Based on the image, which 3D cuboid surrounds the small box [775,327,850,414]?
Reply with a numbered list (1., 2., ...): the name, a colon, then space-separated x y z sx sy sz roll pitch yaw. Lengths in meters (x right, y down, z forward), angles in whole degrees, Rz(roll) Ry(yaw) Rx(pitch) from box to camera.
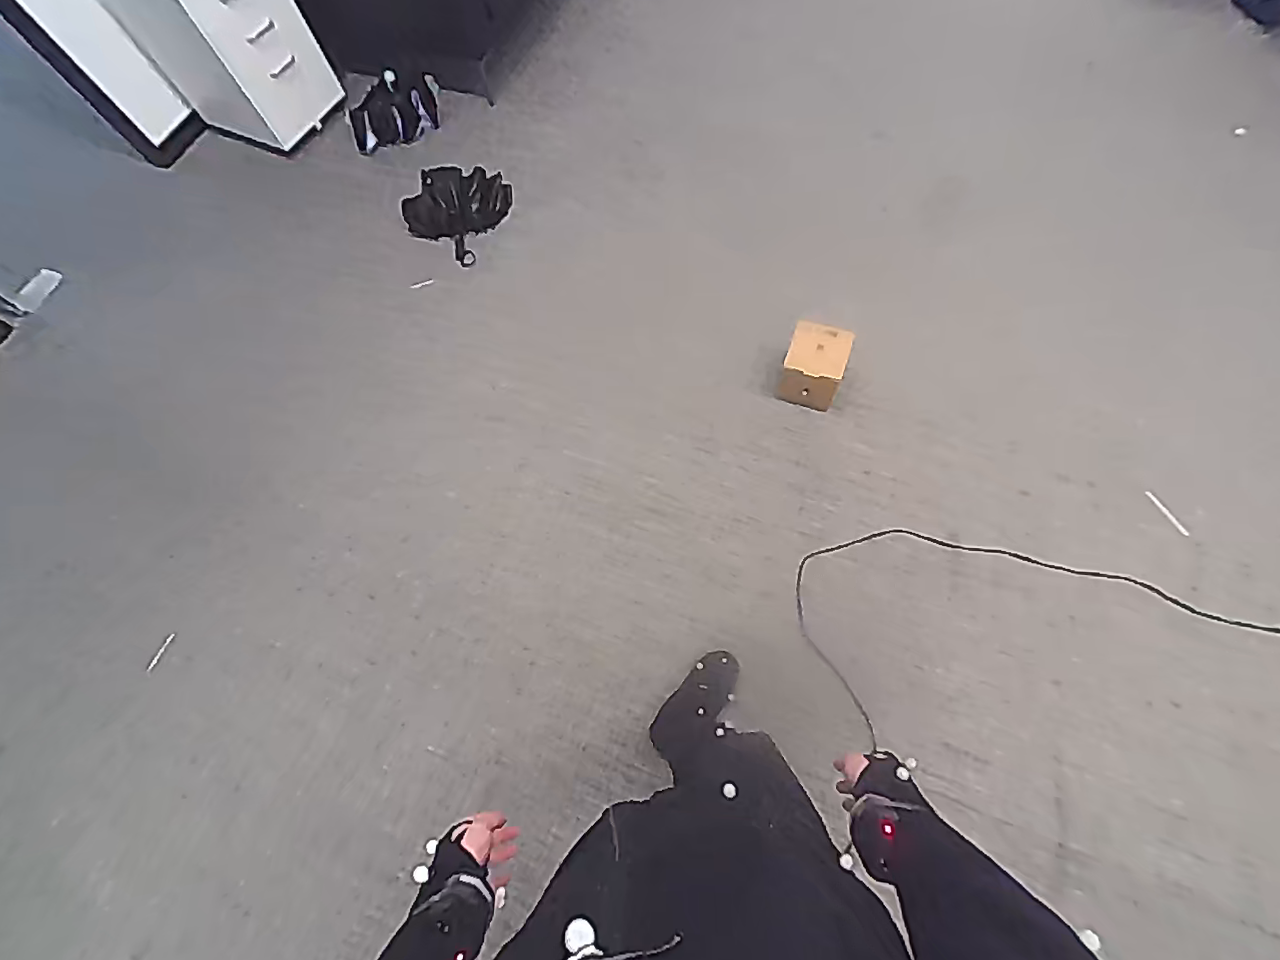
1. small box: 0.513 -0.324 1.633 0.168 0.176 0.179 18 70 13
